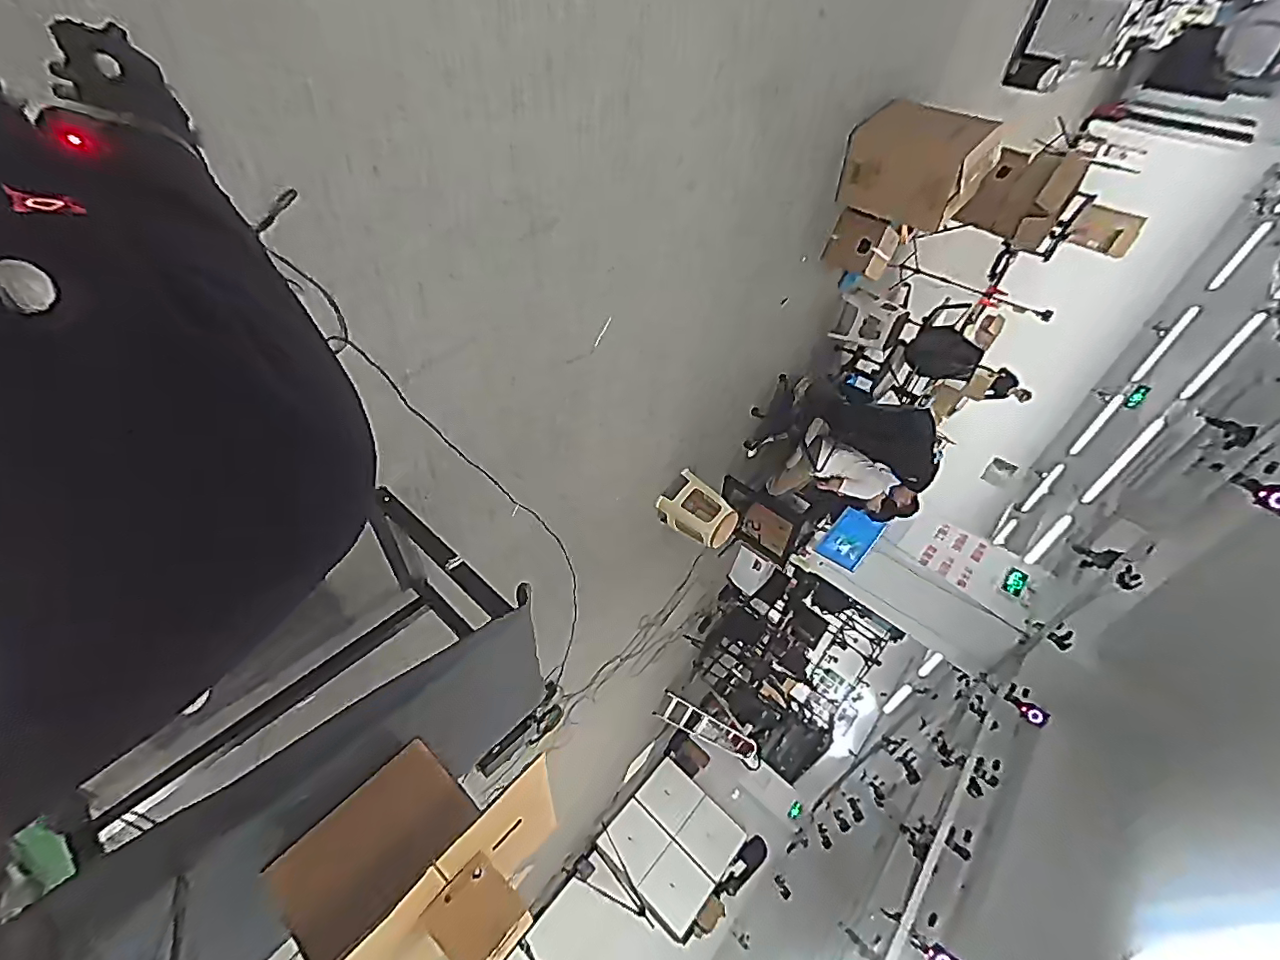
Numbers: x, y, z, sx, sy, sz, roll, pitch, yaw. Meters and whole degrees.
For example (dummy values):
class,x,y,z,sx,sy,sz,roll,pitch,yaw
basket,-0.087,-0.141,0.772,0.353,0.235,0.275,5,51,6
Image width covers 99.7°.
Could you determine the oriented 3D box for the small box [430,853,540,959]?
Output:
class,x,y,z,sx,sy,sz,roll,pitch,yaw
small box,-0.349,0.992,1.225,0.168,0.176,0.179,-37,148,-35
